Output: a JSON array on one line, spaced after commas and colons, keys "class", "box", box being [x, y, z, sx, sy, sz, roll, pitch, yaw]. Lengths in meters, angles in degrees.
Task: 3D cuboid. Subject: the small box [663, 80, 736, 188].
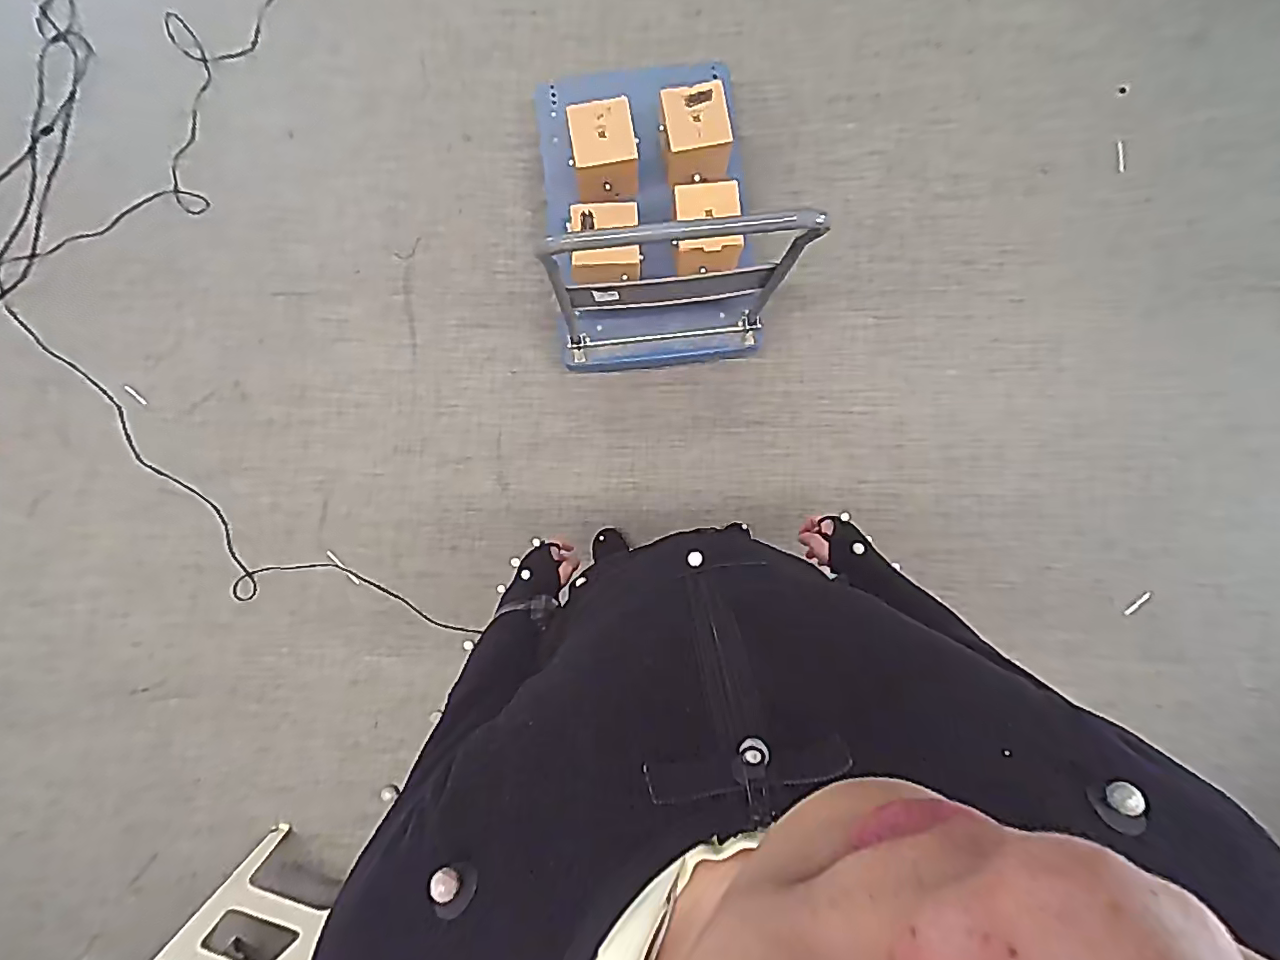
[{"class": "small box", "box": [0.157, -0.939, 1.480, 0.168, 0.176, 0.179, -9, 87, 1]}]

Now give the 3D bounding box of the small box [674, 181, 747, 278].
[{"class": "small box", "box": [0.185, -0.671, 1.461, 0.168, 0.176, 0.179, -5, 86, 0]}]

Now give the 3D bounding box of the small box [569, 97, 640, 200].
[{"class": "small box", "box": [-0.091, -0.896, 1.481, 0.168, 0.176, 0.179, -9, 86, -1]}]
